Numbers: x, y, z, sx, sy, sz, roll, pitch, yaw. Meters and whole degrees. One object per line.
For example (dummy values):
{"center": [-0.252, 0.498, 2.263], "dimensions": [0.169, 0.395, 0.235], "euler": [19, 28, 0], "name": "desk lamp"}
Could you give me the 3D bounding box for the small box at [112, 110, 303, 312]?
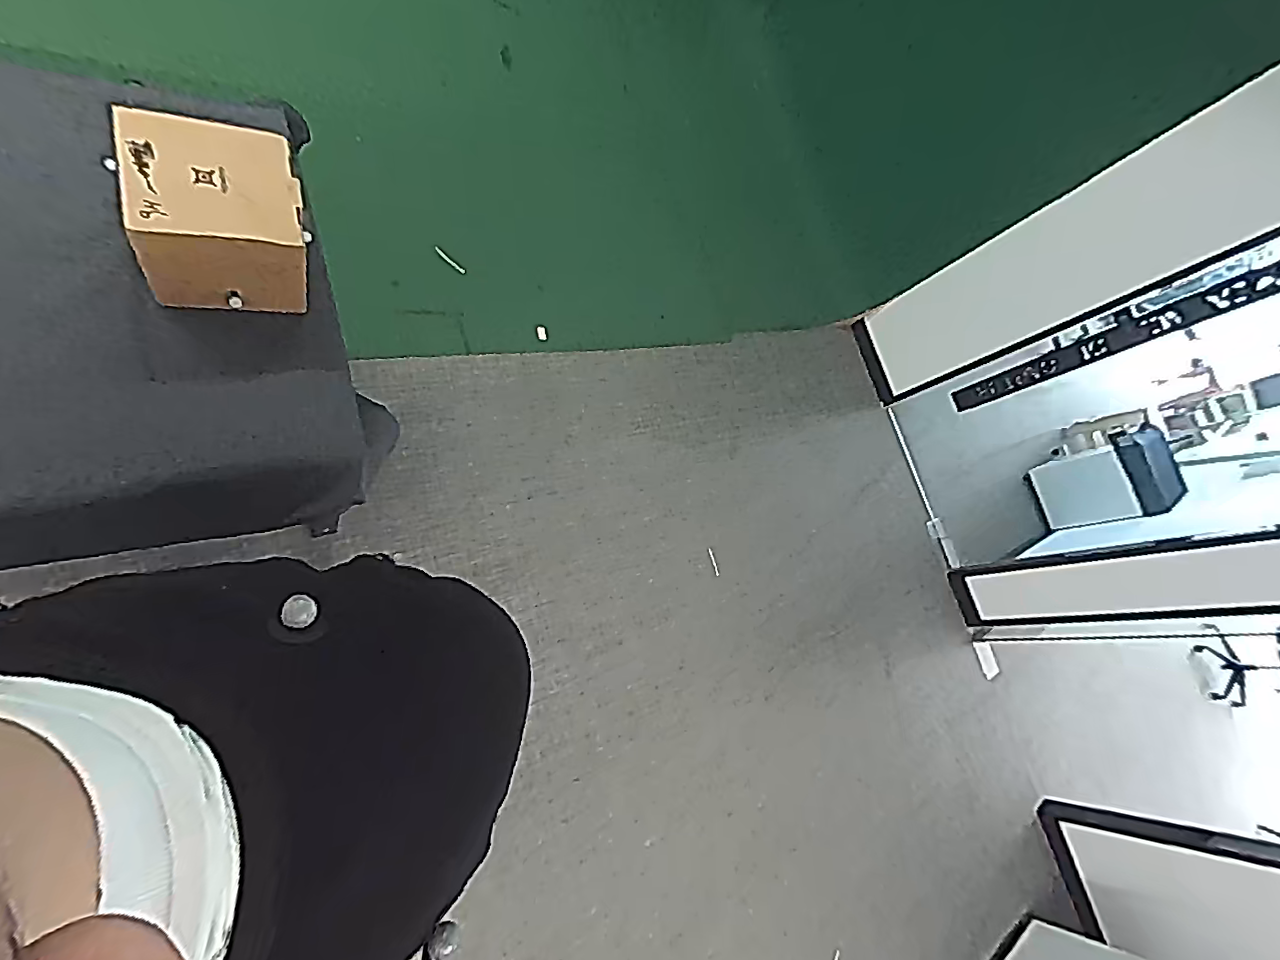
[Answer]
{"center": [-0.572, -0.345, 0.733], "dimensions": [0.179, 0.176, 0.168], "euler": [-8, 79, -34], "name": "small box"}
